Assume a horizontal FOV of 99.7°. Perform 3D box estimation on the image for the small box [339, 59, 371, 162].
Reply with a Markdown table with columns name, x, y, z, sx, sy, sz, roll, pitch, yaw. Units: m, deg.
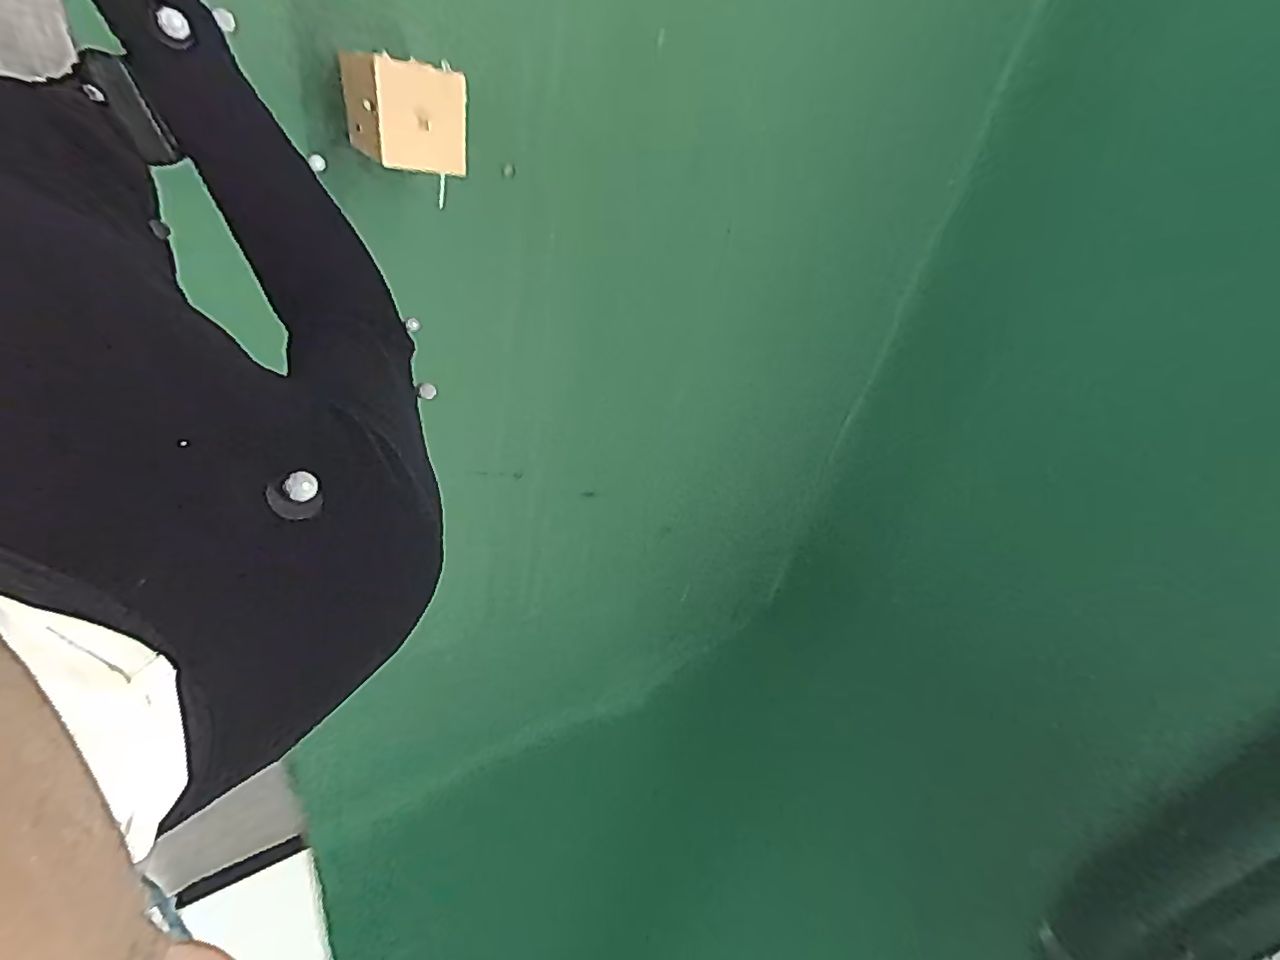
| name | x | y | z | sx | sy | sz | roll | pitch | yaw |
| --- | --- | --- | --- | --- | --- | --- | --- | --- | --- |
| small box | -0.557 | -0.815 | 1.208 | 0.168 | 0.176 | 0.179 | -14 | 130 | -32 |

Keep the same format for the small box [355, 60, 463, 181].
| name | x | y | z | sx | sy | sz | roll | pitch | yaw |
| --- | --- | --- | --- | --- | --- | --- | --- | --- | --- |
| small box | -0.469 | -0.729 | 1.101 | 0.168 | 0.176 | 0.179 | -12 | 128 | -33 |
